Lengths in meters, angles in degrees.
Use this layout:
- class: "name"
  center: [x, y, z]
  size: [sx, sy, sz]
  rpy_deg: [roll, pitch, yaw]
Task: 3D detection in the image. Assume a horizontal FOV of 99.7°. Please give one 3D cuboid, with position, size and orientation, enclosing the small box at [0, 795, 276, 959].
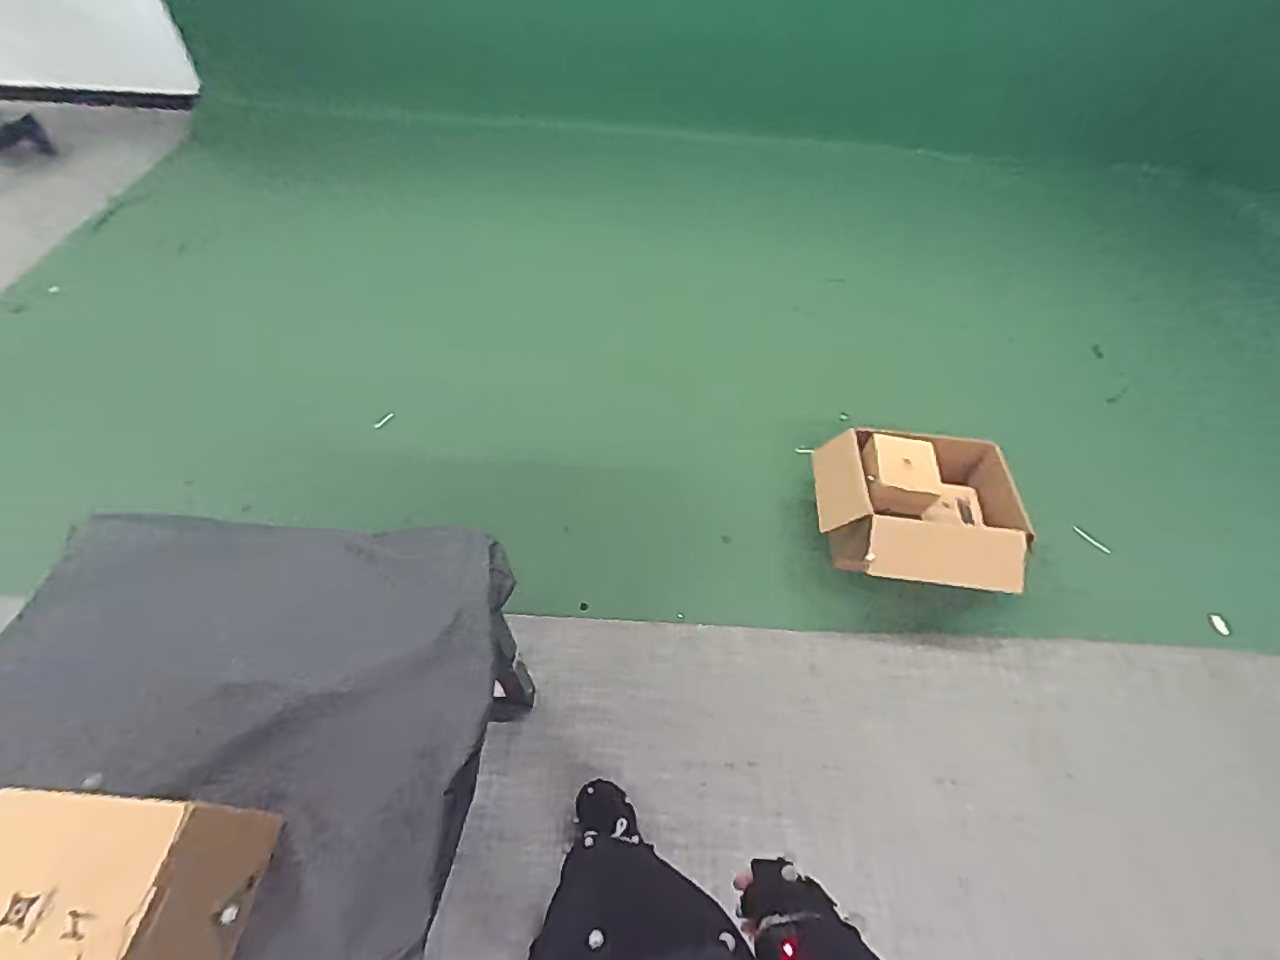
- class: "small box"
  center: [-0.486, 0.395, 0.488]
  size: [0.179, 0.176, 0.168]
  rpy_deg: [4, 54, 0]
